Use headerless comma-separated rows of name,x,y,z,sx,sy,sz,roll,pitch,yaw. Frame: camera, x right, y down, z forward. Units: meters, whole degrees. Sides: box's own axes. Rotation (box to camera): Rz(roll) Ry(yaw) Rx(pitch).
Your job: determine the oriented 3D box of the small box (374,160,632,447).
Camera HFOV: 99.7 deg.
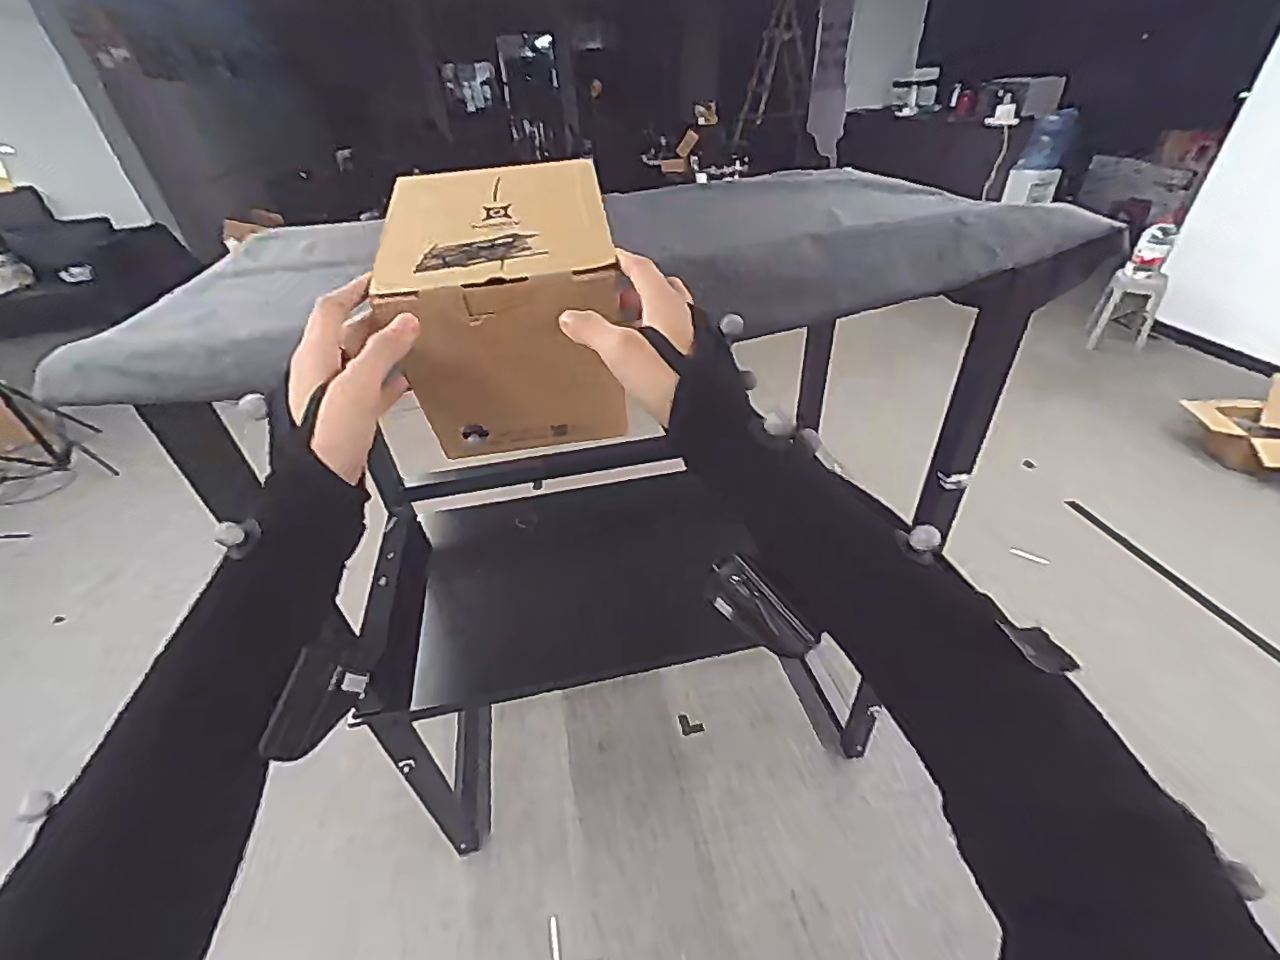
small box,-0.100,-0.142,0.465,0.168,0.176,0.179,-7,52,-3
